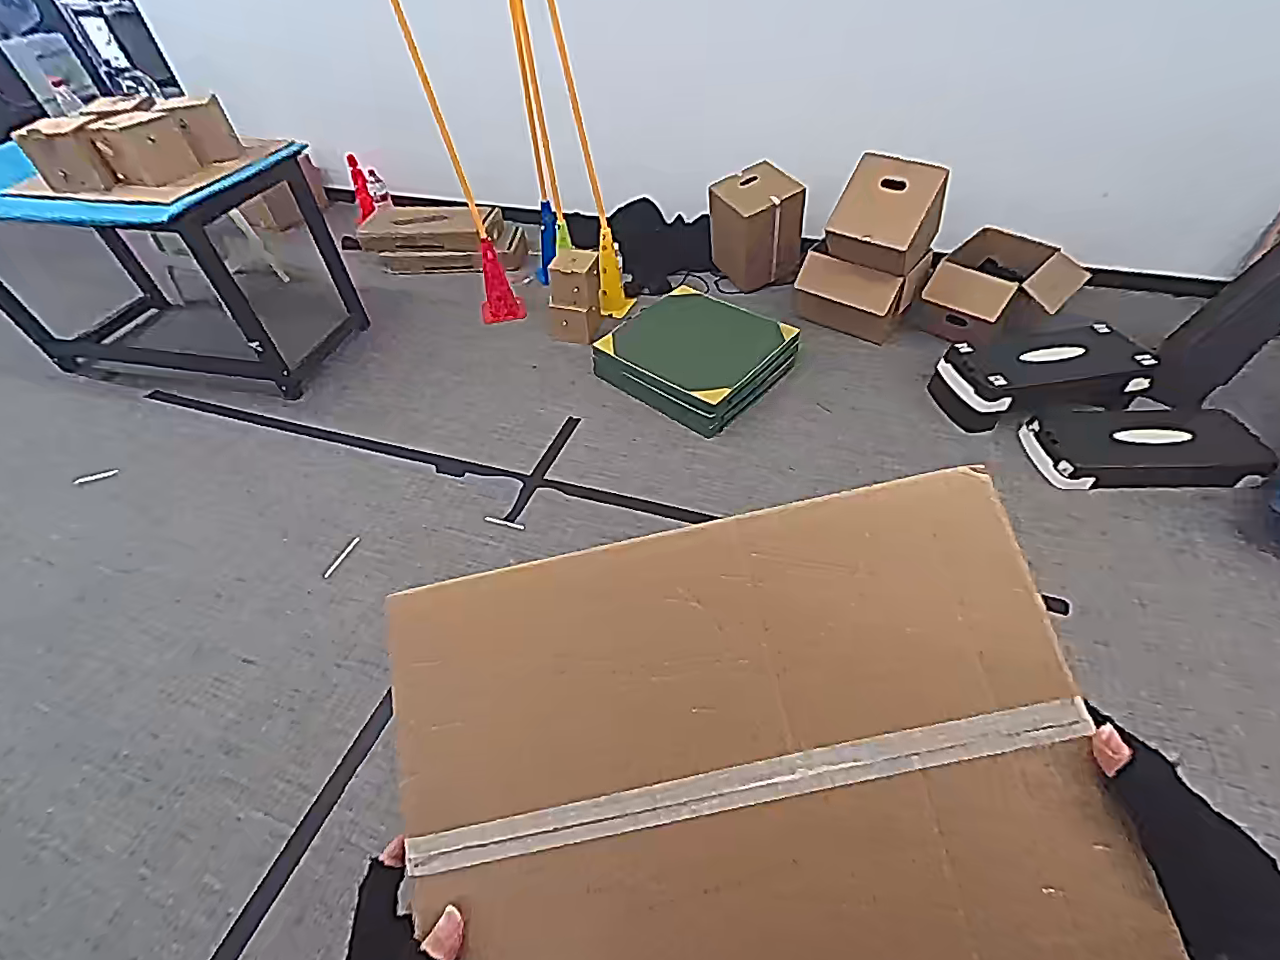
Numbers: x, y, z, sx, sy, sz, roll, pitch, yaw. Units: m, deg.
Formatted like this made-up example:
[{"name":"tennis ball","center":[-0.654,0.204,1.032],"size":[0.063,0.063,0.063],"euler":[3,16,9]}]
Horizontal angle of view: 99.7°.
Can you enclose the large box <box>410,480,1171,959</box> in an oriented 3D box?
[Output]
[{"name":"large box","center":[0.077,0.227,0.471],"size":[0.408,0.320,0.320],"euler":[-13,75,2]}]
